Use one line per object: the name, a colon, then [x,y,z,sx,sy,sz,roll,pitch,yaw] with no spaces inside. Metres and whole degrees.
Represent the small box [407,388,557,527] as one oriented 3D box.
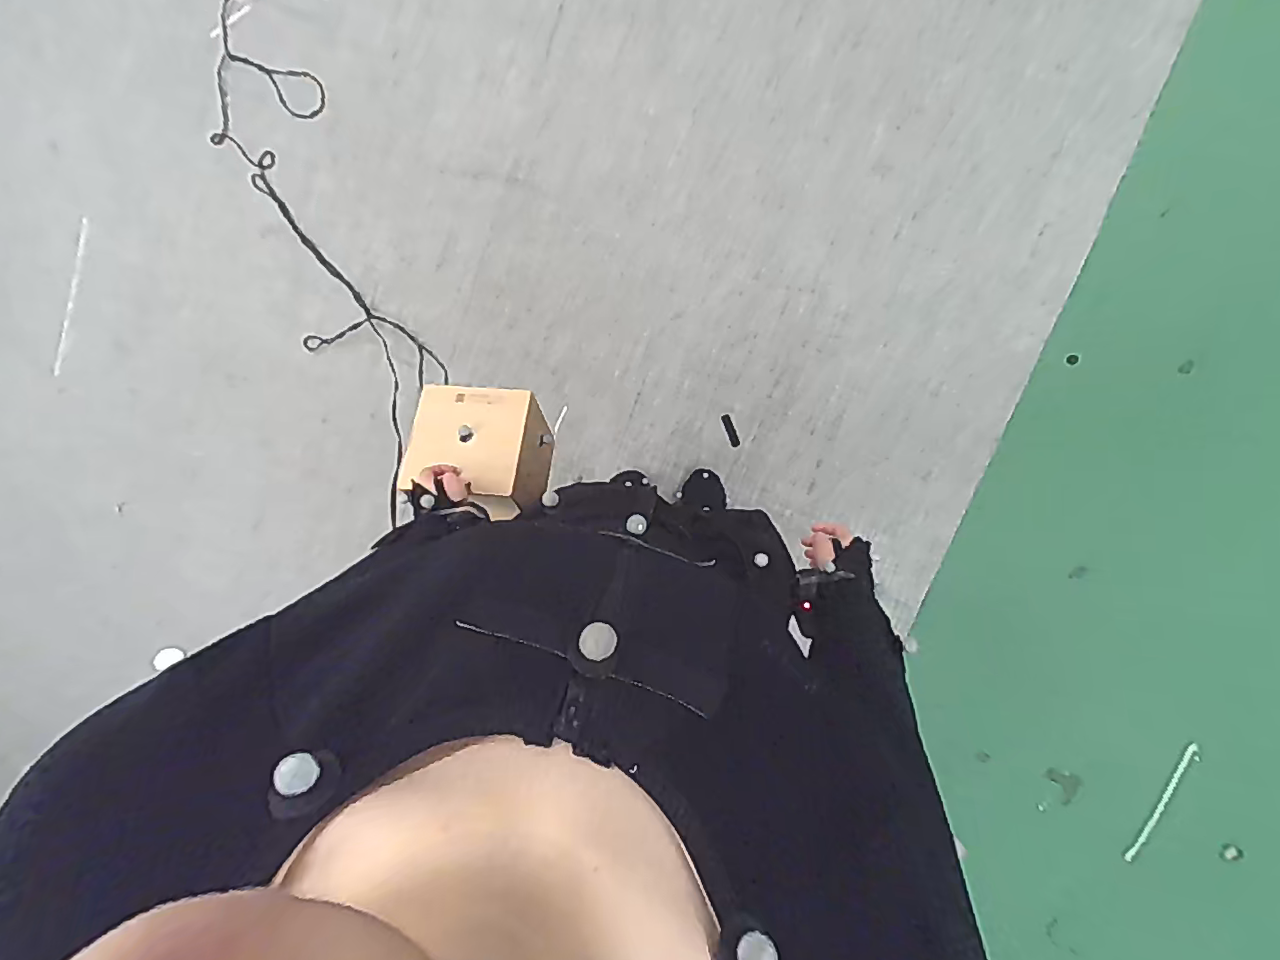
small box: [-0.234,-0.032,0.846,0.168,0.179,0.176,2,70,5]
